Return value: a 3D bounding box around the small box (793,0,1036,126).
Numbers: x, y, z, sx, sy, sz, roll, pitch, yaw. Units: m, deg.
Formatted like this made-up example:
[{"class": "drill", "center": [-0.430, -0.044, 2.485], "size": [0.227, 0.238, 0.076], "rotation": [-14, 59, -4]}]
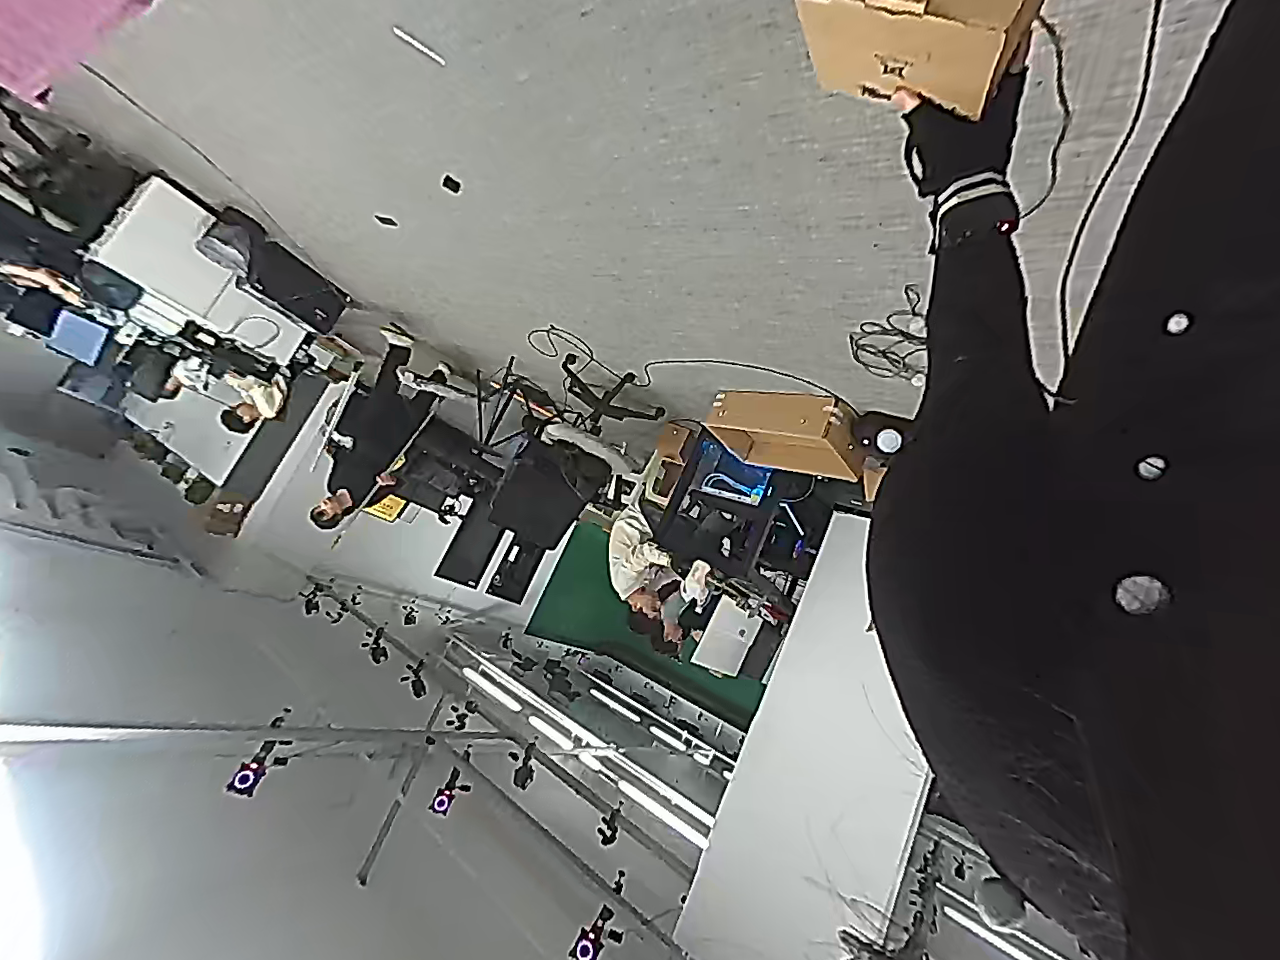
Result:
[{"class": "small box", "center": [0.246, -0.437, 0.443], "size": [0.168, 0.176, 0.179], "rotation": [30, -160, 17]}]
